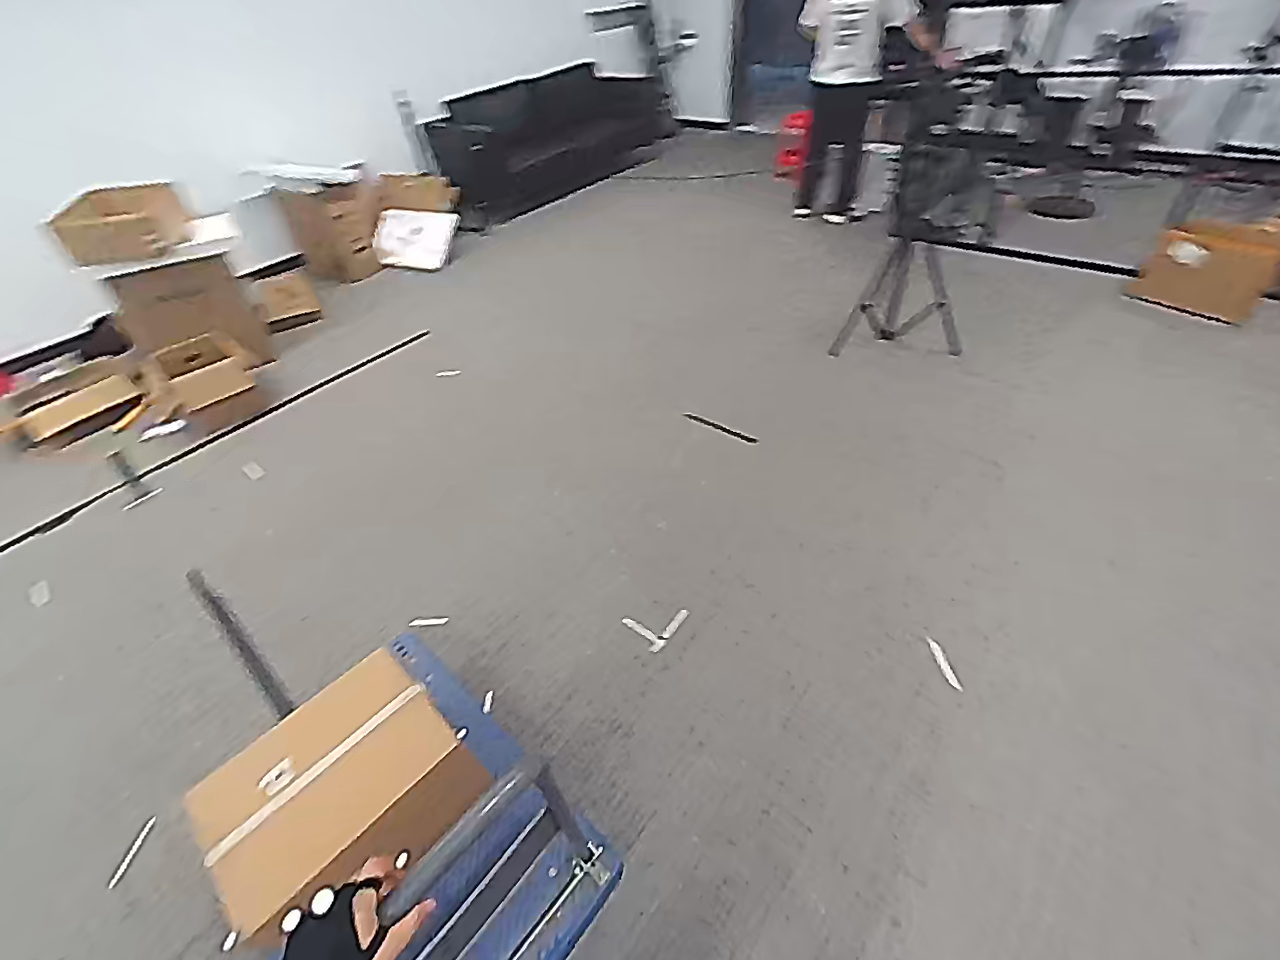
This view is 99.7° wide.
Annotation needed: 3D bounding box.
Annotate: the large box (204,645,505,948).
[{"bbox_3d":[-0.561,0.642,1.129,0.320,0.320,0.408,31,55,33],"label":"large box"}]
